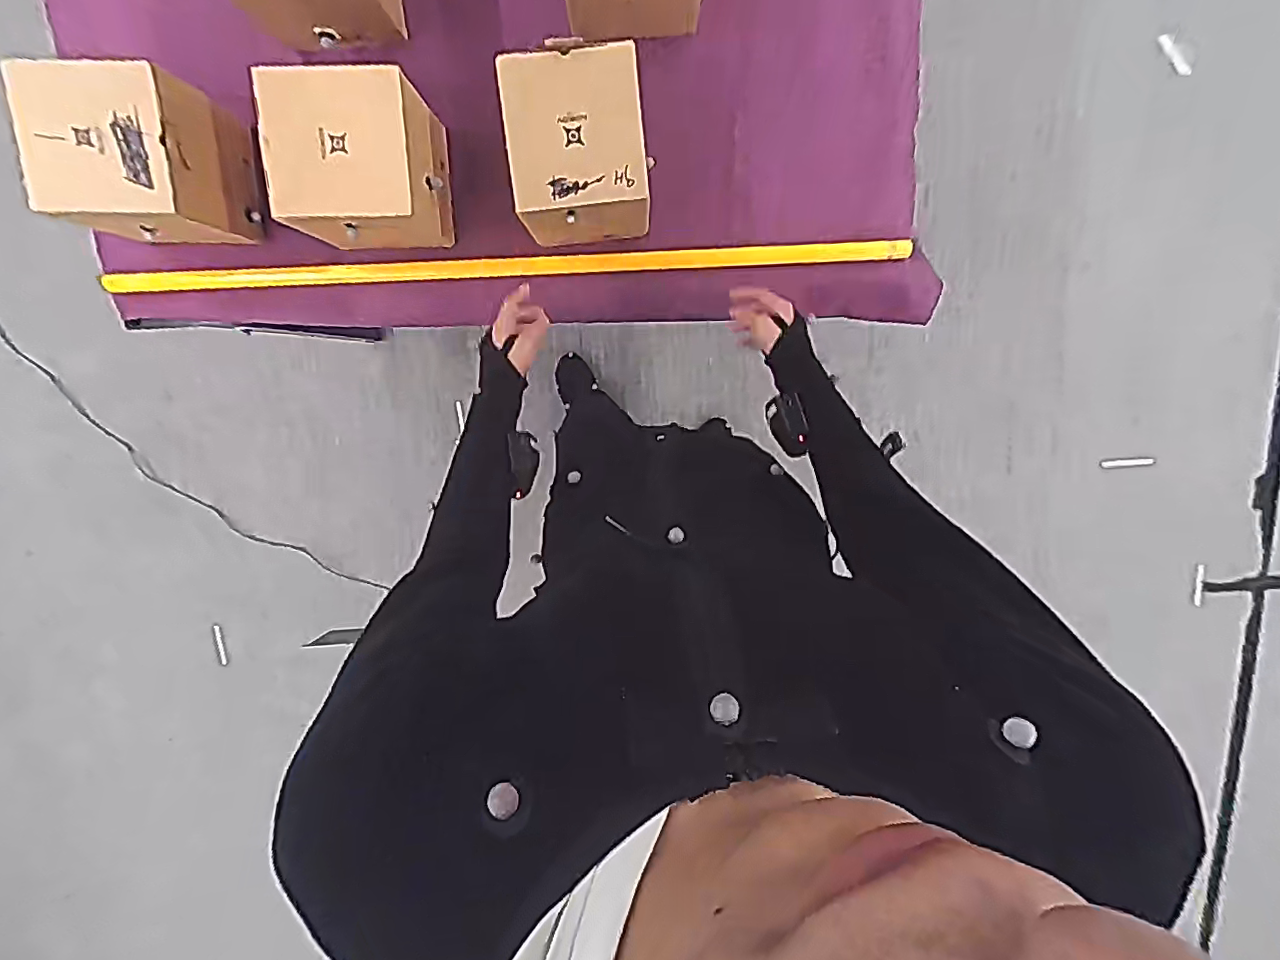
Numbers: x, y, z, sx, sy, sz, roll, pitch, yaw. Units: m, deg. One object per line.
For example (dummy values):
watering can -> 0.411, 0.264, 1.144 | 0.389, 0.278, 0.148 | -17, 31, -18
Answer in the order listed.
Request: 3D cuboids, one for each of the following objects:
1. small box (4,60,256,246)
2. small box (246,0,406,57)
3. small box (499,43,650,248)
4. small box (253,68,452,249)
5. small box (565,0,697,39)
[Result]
small box -> -0.646, -0.416, 0.716 | 0.179, 0.176, 0.168 | 1, 101, -1
small box -> -0.416, -0.674, 0.669 | 0.168, 0.176, 0.179 | -6, 102, 1
small box -> -0.078, -0.429, 0.721 | 0.168, 0.176, 0.179 | -6, 99, 1
small box -> -0.363, -0.414, 0.722 | 0.179, 0.176, 0.168 | -1, 101, 1
small box -> -0.014, -0.686, 0.670 | 0.179, 0.176, 0.168 | -3, 103, 0
